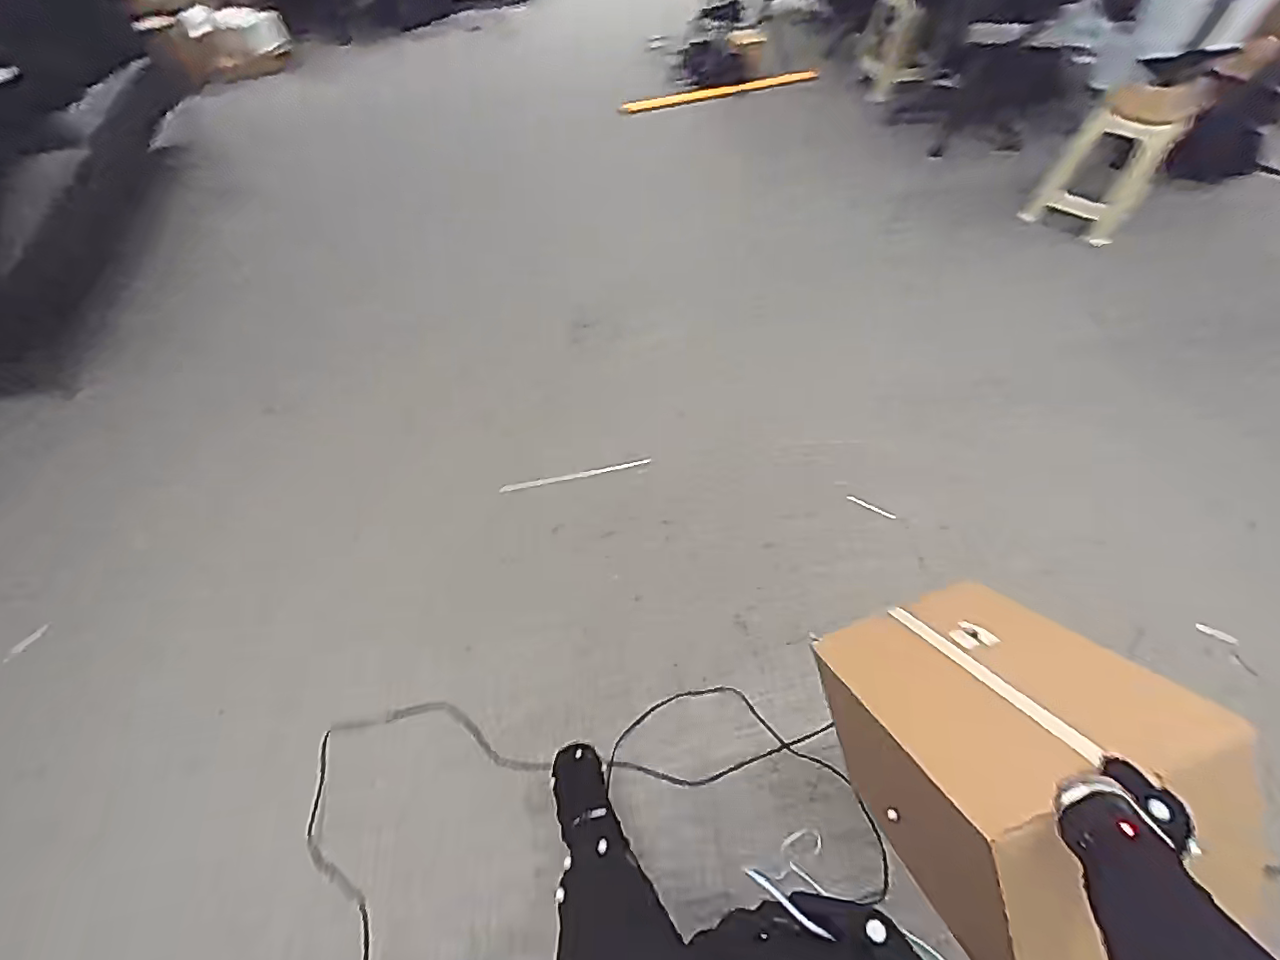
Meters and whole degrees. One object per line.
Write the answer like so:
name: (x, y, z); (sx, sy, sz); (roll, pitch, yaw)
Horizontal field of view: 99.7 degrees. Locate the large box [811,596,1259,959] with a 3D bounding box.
large box: (0.516, 0.428, 0.785); (0.320, 0.320, 0.408); (-20, 12, -4)
